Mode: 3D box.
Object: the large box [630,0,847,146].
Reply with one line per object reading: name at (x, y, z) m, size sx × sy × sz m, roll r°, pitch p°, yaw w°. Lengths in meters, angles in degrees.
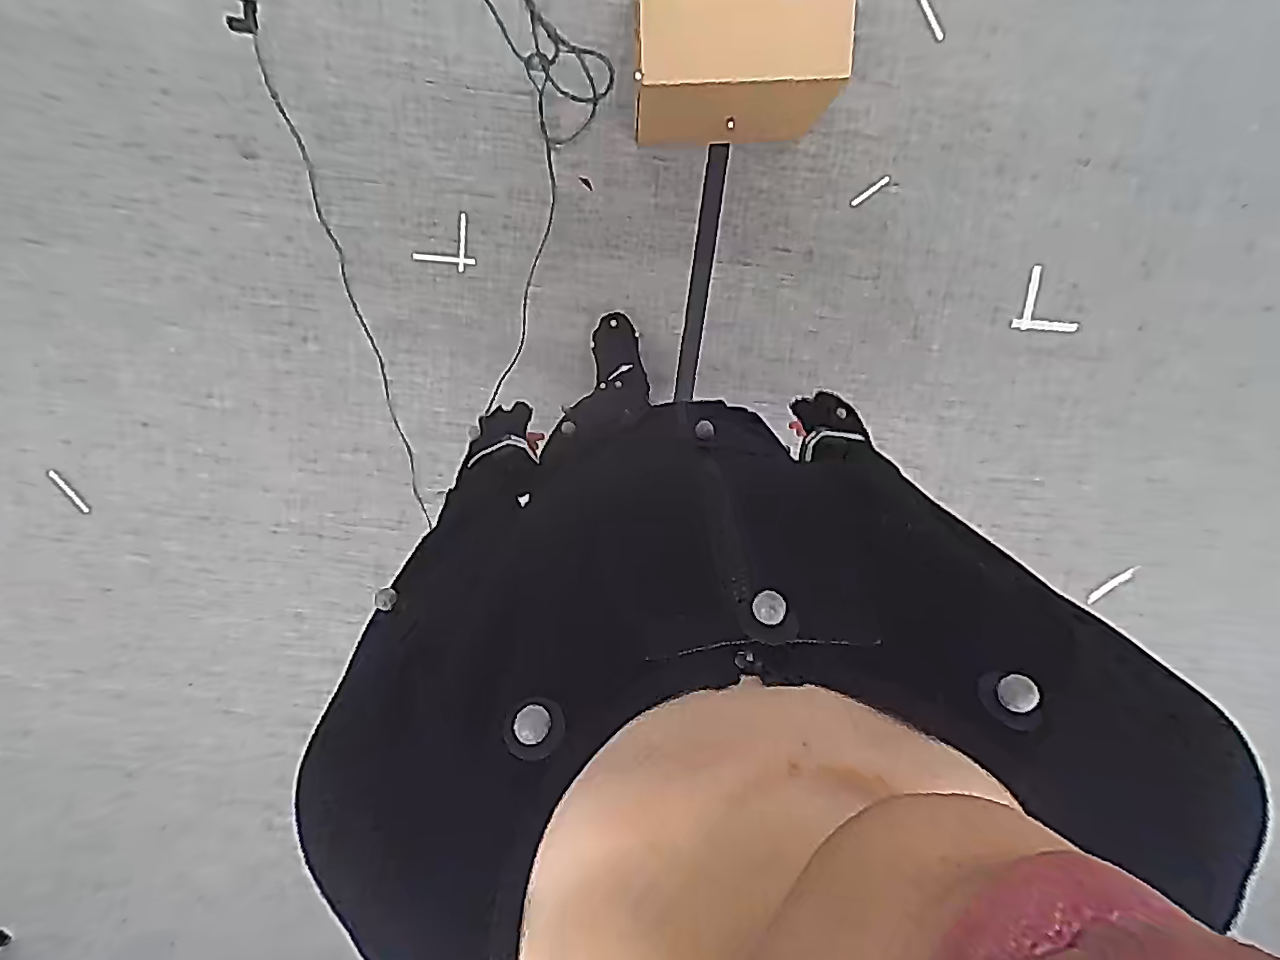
large box at (0.187, -0.941, 1.146) m, size 0.408 × 0.320 × 0.320 m, roll -3°, pitch 102°, yaw 0°
